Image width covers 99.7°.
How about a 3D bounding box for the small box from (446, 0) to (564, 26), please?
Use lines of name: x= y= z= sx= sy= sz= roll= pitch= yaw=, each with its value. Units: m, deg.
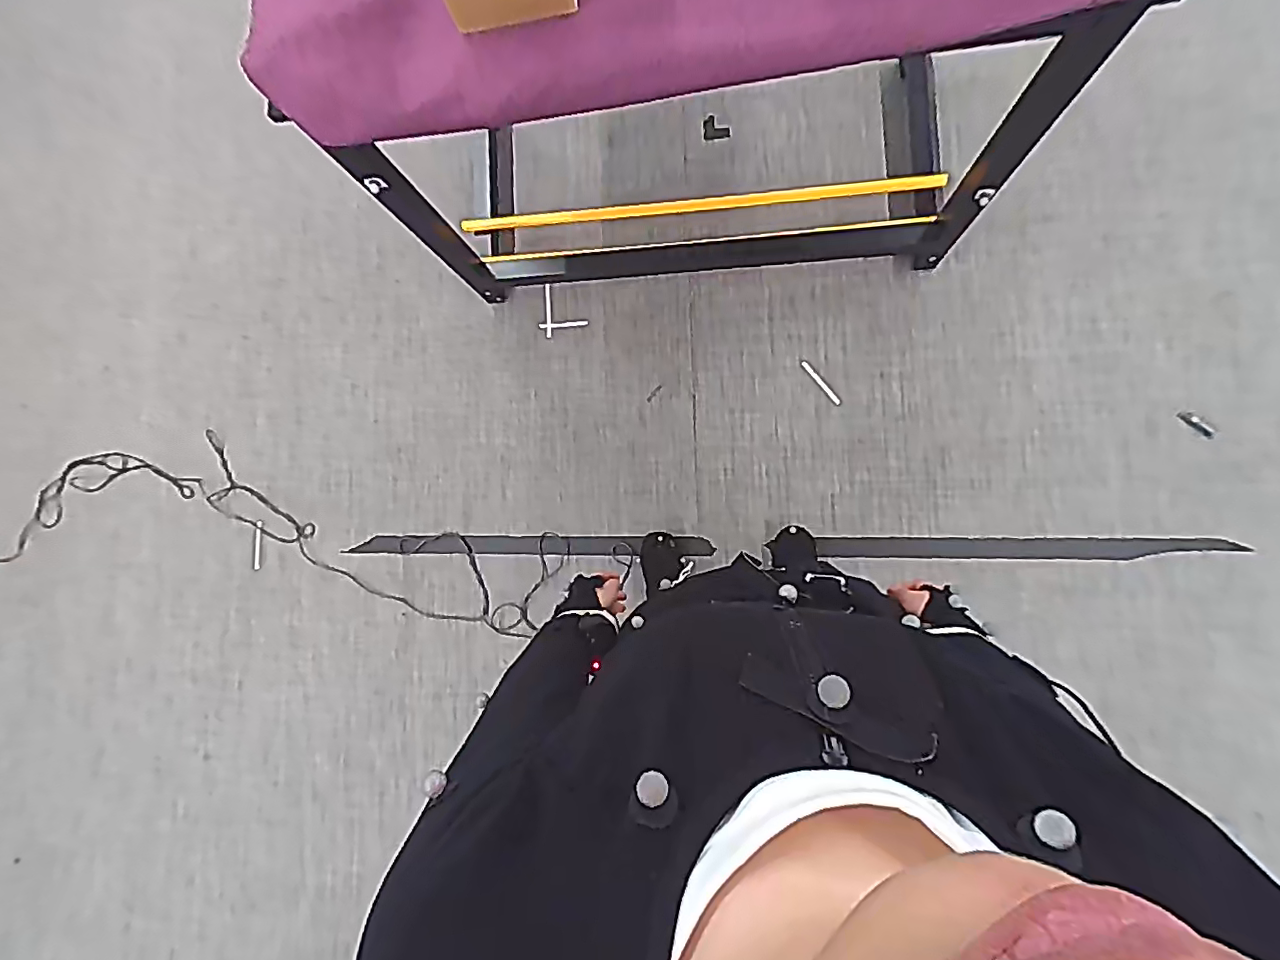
small box: x=-0.183 y=-0.724 z=0.675 sx=0.179 sy=0.176 sz=0.168 roll=-3 pitch=85 yaw=8
